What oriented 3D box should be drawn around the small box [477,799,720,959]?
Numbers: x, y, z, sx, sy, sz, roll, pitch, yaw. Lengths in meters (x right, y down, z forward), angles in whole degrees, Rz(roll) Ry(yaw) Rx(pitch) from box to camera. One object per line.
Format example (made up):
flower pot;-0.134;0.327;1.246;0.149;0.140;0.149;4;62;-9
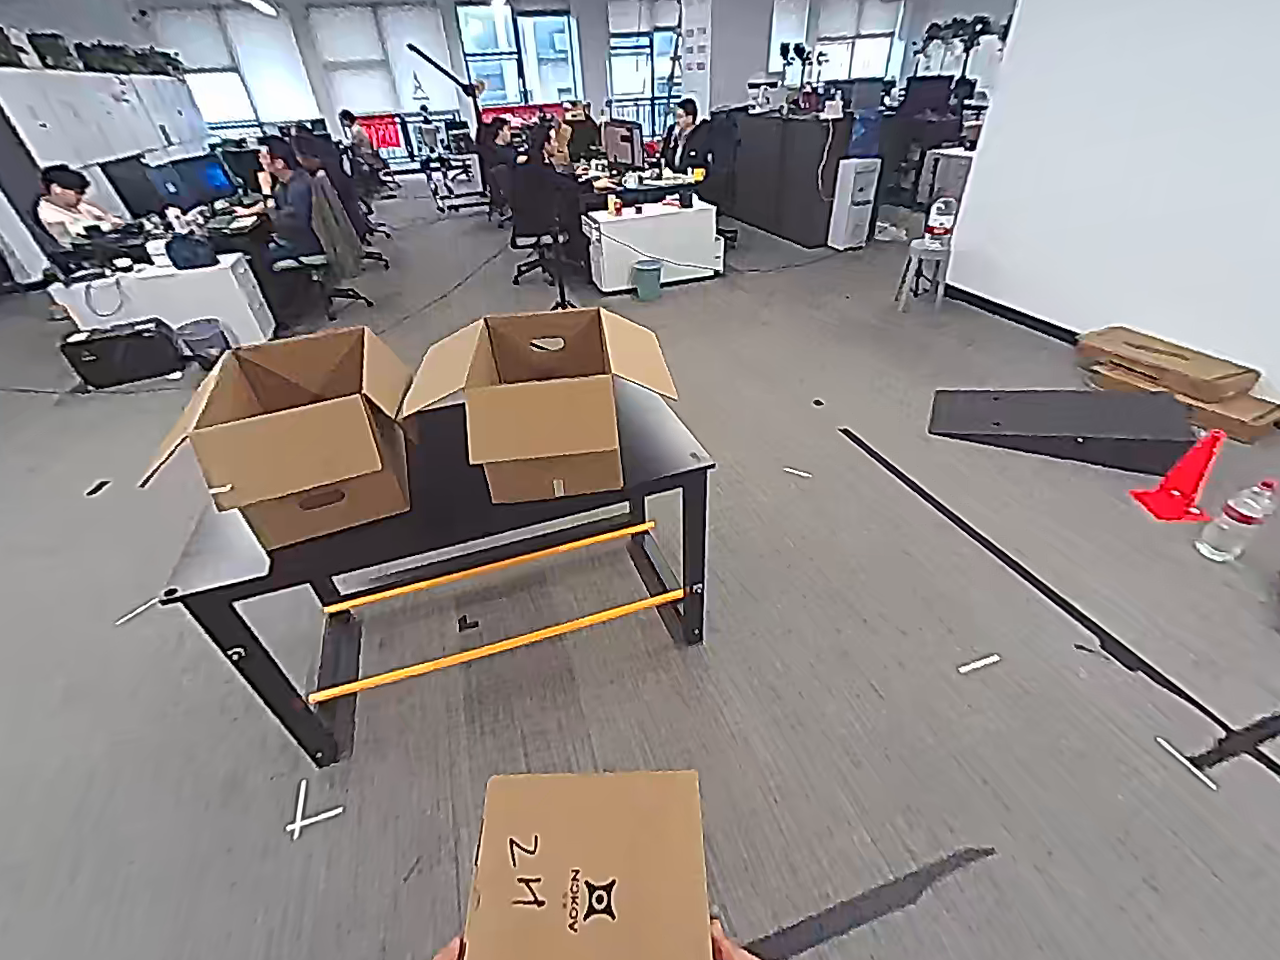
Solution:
small box;-0.029;0.379;0.457;0.179;0.176;0.168;-2;48;1
